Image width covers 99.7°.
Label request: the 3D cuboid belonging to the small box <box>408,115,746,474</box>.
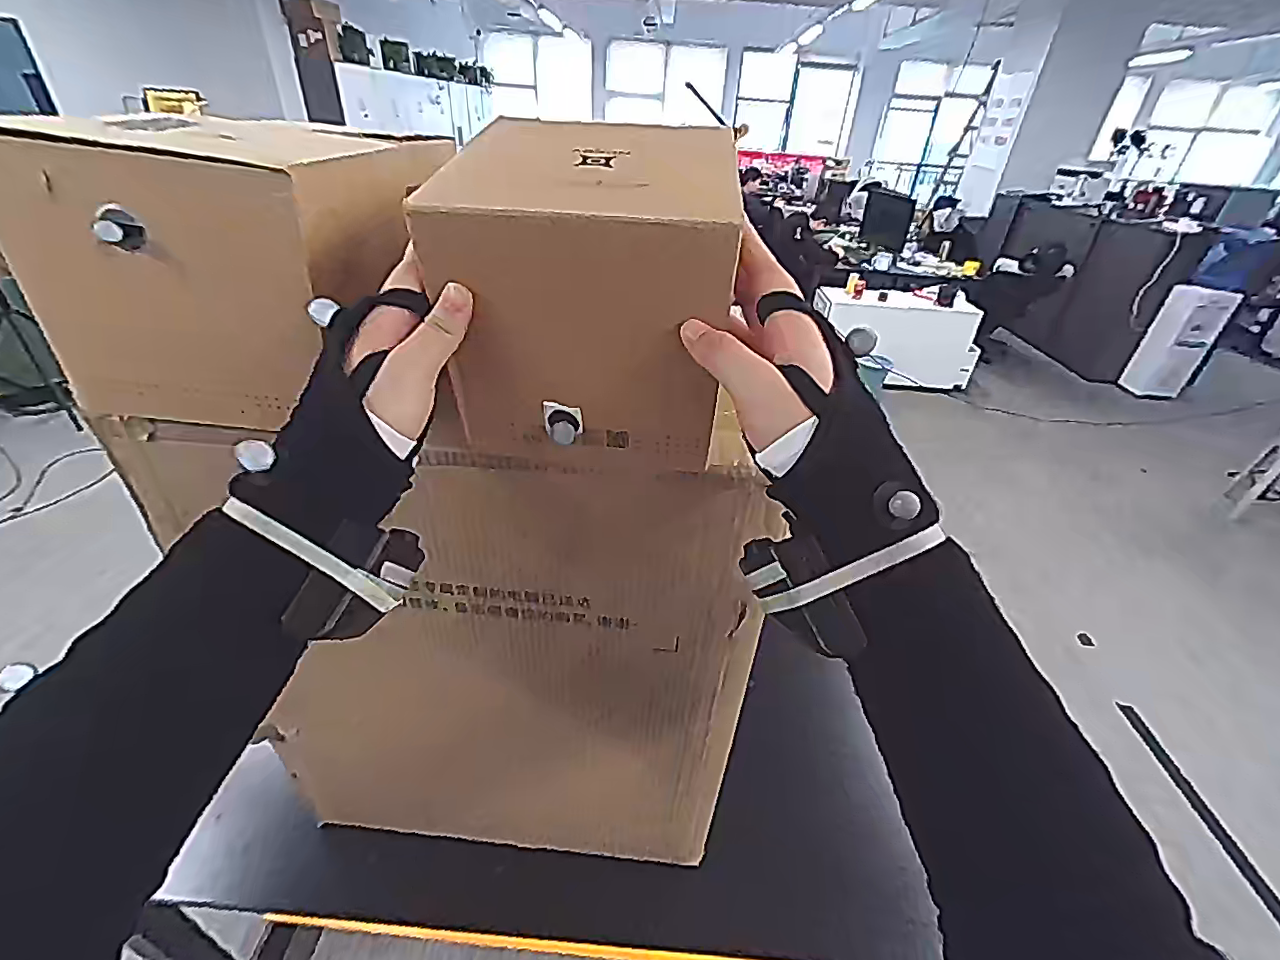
[{"bbox_3d":[-0.027,-0.127,0.368,0.168,0.176,0.179,3,46,2],"label":"small box"}]
